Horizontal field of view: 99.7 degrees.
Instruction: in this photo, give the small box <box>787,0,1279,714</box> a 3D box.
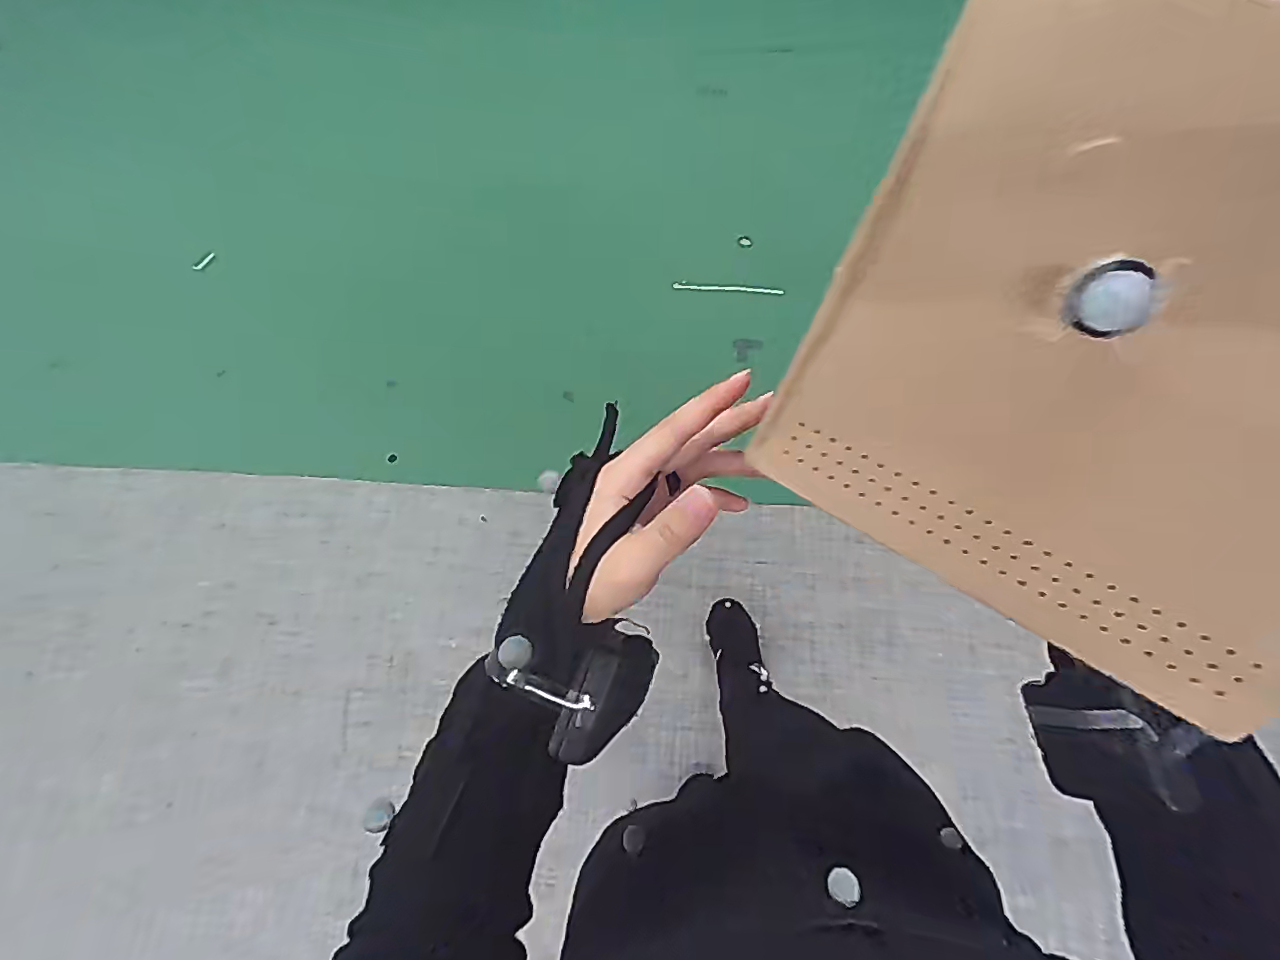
[{"bbox_3d":[0.186,-0.047,0.223,0.179,0.176,0.168,31,32,18],"label":"small box"}]
